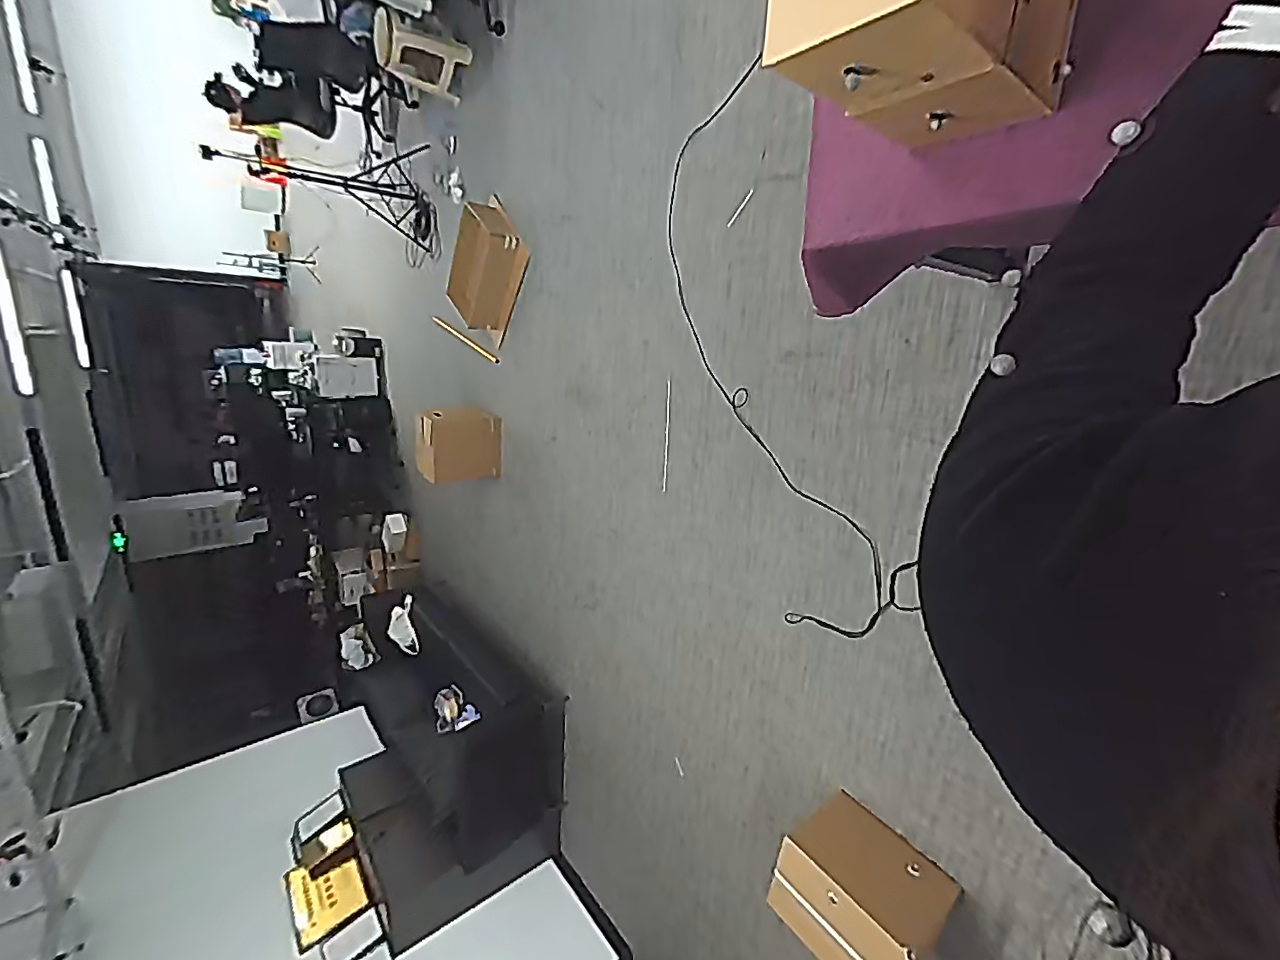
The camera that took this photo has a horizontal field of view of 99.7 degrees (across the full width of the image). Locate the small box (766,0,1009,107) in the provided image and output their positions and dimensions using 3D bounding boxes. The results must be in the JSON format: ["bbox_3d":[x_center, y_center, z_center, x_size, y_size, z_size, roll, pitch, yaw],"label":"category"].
[{"bbox_3d":[0.248,-0.495,0.526,0.168,0.176,0.179,20,110,48],"label":"small box"}]

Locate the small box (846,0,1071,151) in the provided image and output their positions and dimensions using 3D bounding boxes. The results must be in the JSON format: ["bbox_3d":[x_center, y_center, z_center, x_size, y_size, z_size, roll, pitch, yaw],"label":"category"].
[{"bbox_3d":[0.372,-0.512,0.630,0.179,0.176,0.168,18,110,49],"label":"small box"}]
